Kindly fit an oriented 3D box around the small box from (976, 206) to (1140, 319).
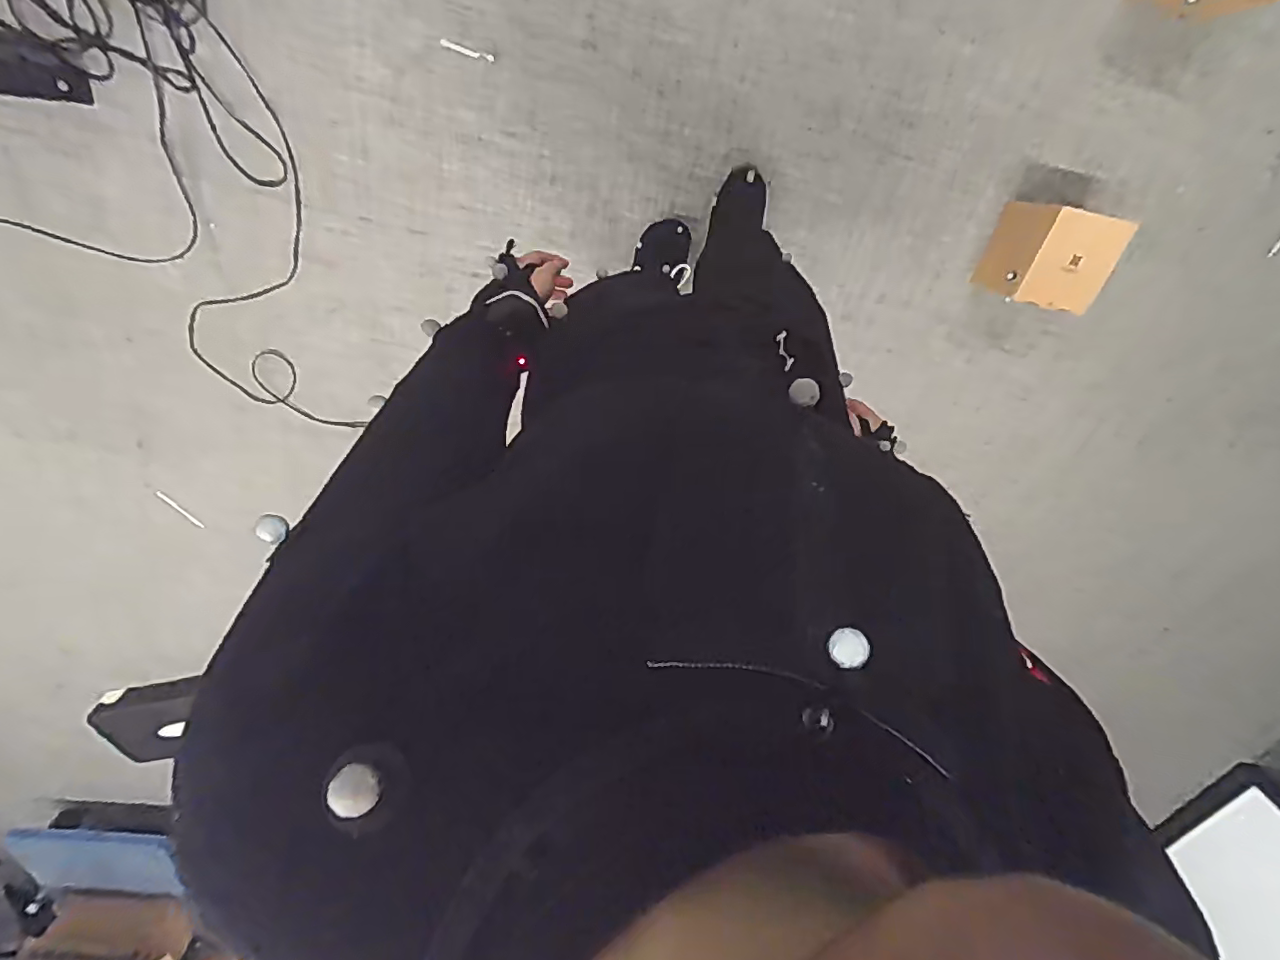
[{"bbox_3d":[0.843,-0.454,1.116,0.168,0.176,0.179,10,120,-6],"label":"small box"}]
